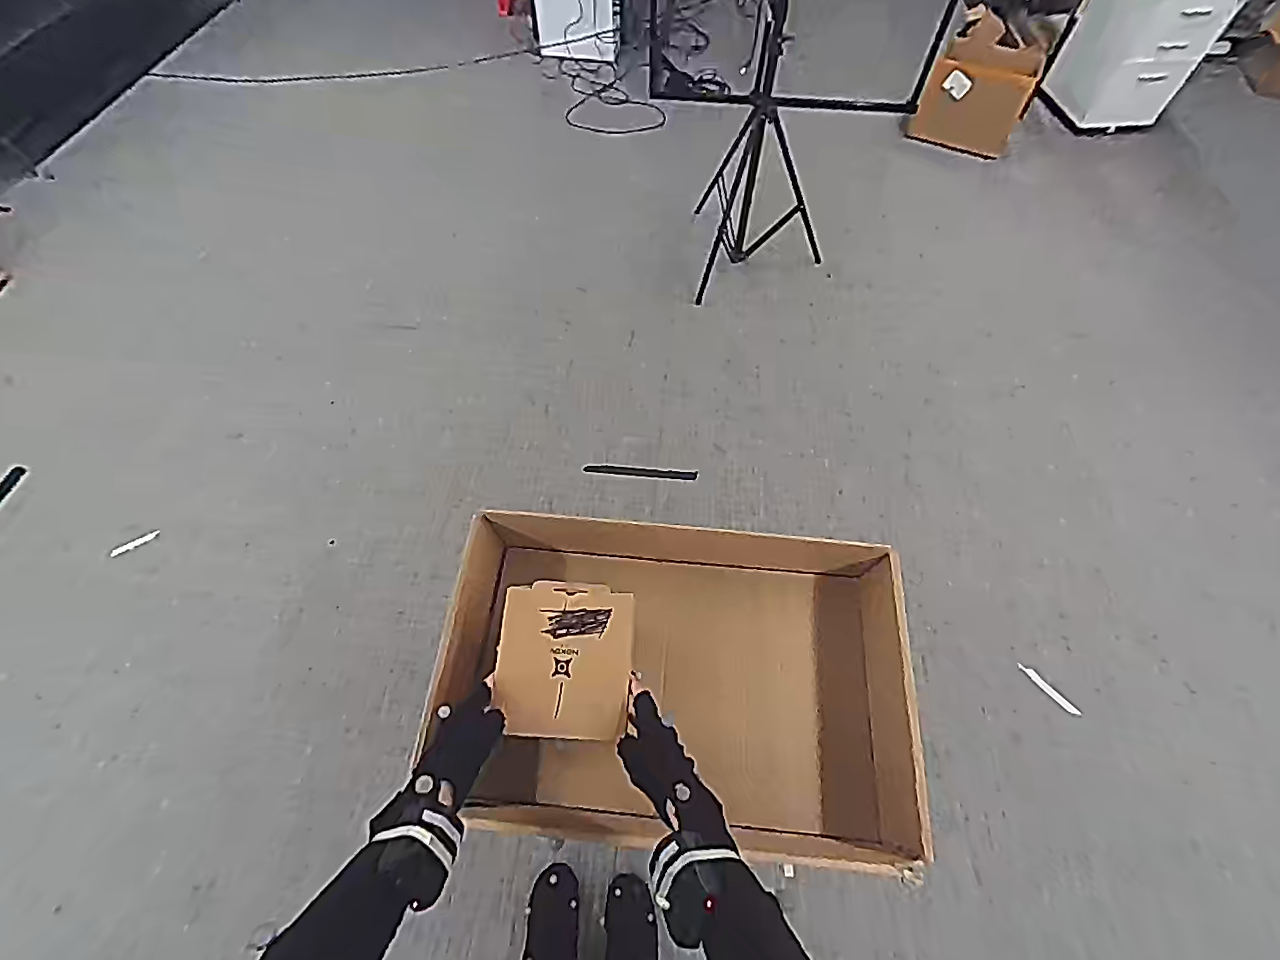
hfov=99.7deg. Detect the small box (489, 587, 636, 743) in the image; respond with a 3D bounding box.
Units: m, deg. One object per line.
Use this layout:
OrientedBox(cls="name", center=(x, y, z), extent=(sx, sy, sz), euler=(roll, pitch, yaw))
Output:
OrientedBox(cls="small box", center=(-0.093, 0.255, 0.737), extent=(0.168, 0.176, 0.179), euler=(3, 66, 1))
